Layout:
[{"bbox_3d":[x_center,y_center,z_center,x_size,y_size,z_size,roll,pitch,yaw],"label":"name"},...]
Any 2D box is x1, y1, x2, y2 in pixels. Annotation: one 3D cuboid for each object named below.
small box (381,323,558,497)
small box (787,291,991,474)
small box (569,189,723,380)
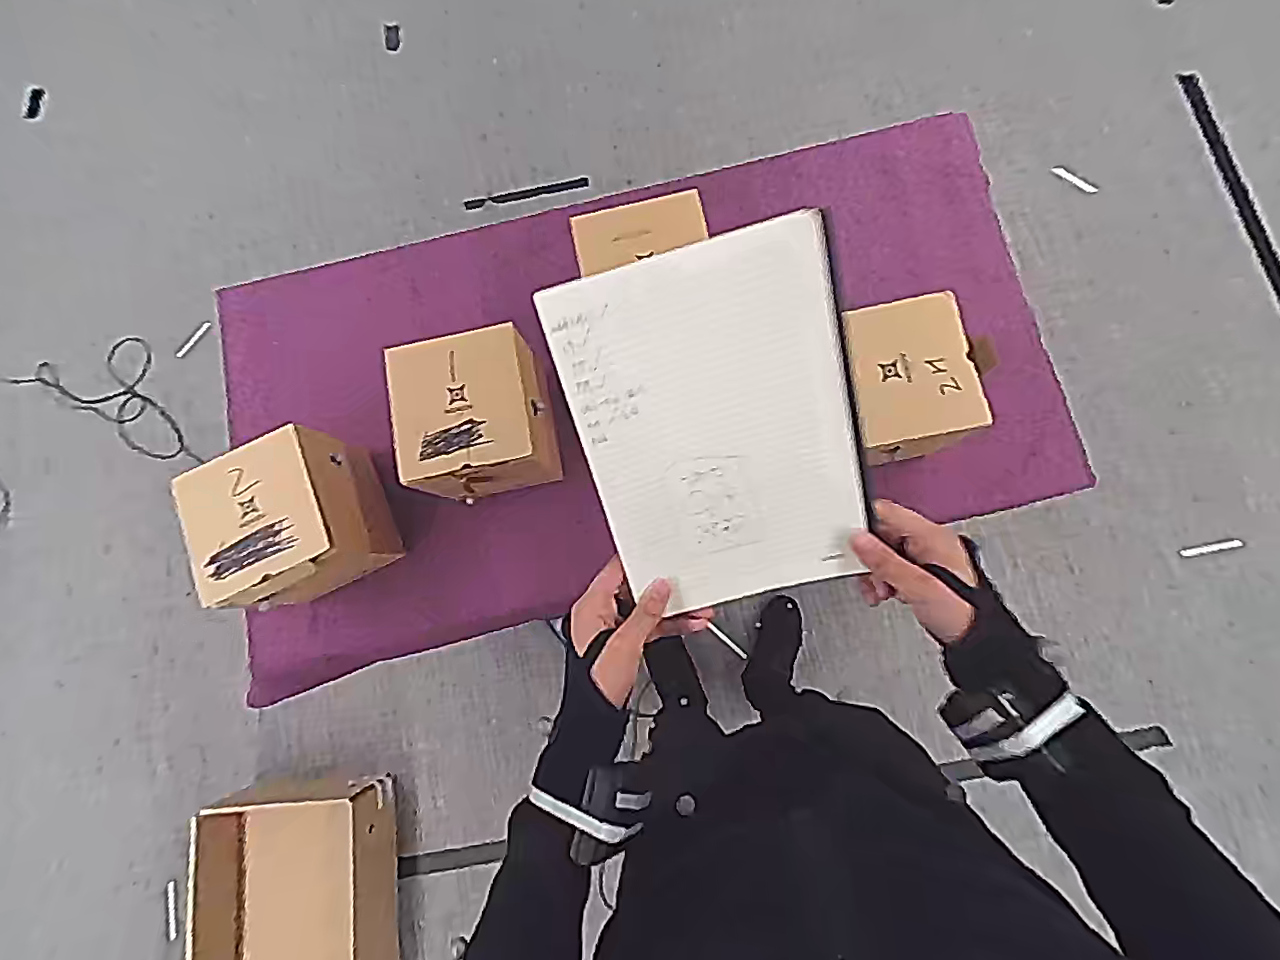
[{"bbox_3d":[-0.216,-0.079,0.723,0.168,0.176,0.179,-12,79,2],"label":"small box"},{"bbox_3d":[0.295,-0.111,0.690,0.179,0.176,0.168,-11,80,2],"label":"small box"},{"bbox_3d":[0.011,-0.249,0.736,0.168,0.176,0.179,-12,80,1],"label":"small box"}]
